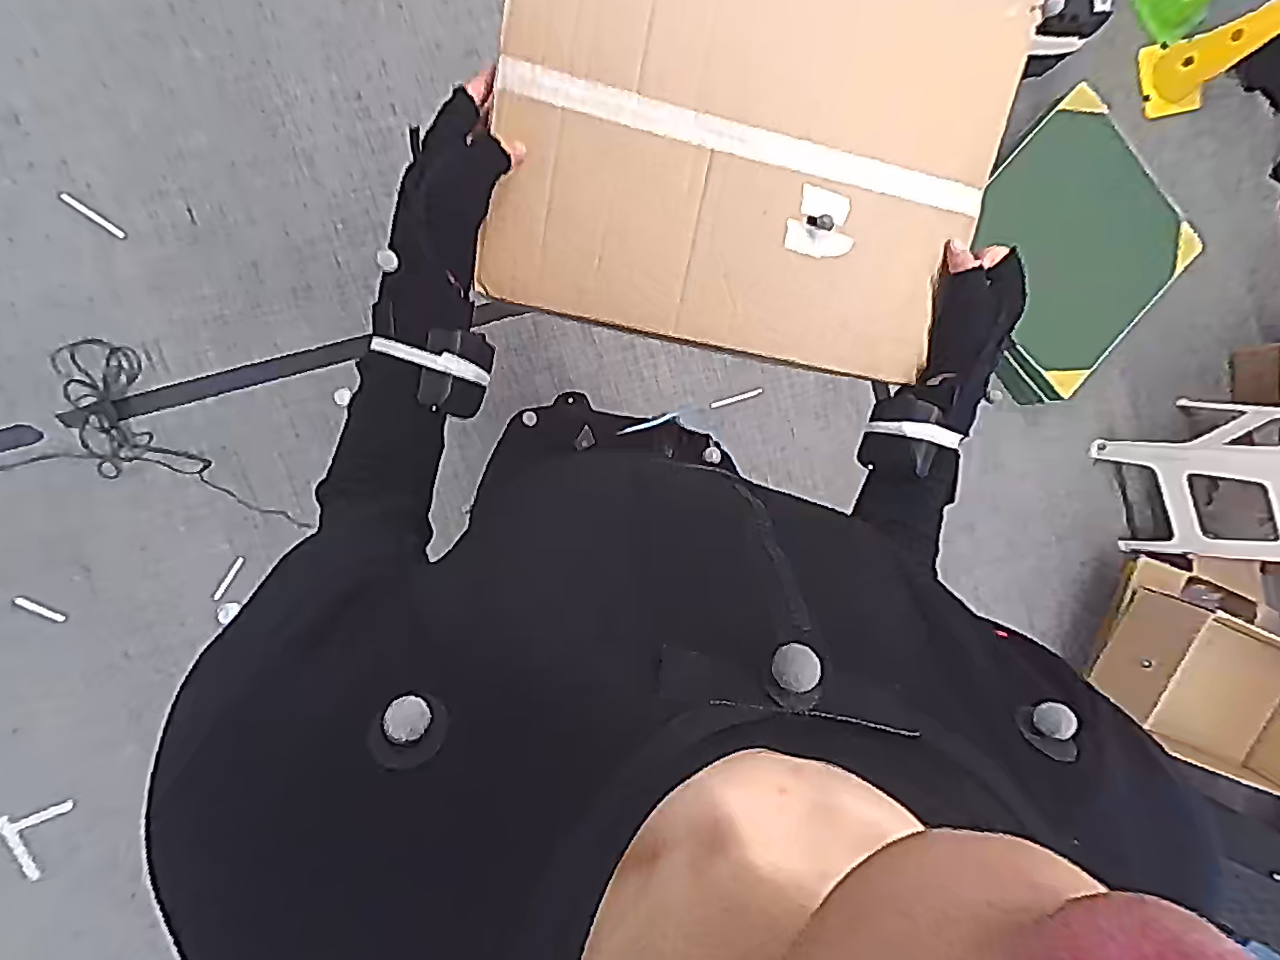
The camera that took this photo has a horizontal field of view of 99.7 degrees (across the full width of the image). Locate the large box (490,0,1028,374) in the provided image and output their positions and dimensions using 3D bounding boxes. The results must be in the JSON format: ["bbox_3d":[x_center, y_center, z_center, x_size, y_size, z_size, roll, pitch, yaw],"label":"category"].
[{"bbox_3d":[0.075,-0.316,0.582,0.408,0.320,0.320,10,106,-11],"label":"large box"}]
